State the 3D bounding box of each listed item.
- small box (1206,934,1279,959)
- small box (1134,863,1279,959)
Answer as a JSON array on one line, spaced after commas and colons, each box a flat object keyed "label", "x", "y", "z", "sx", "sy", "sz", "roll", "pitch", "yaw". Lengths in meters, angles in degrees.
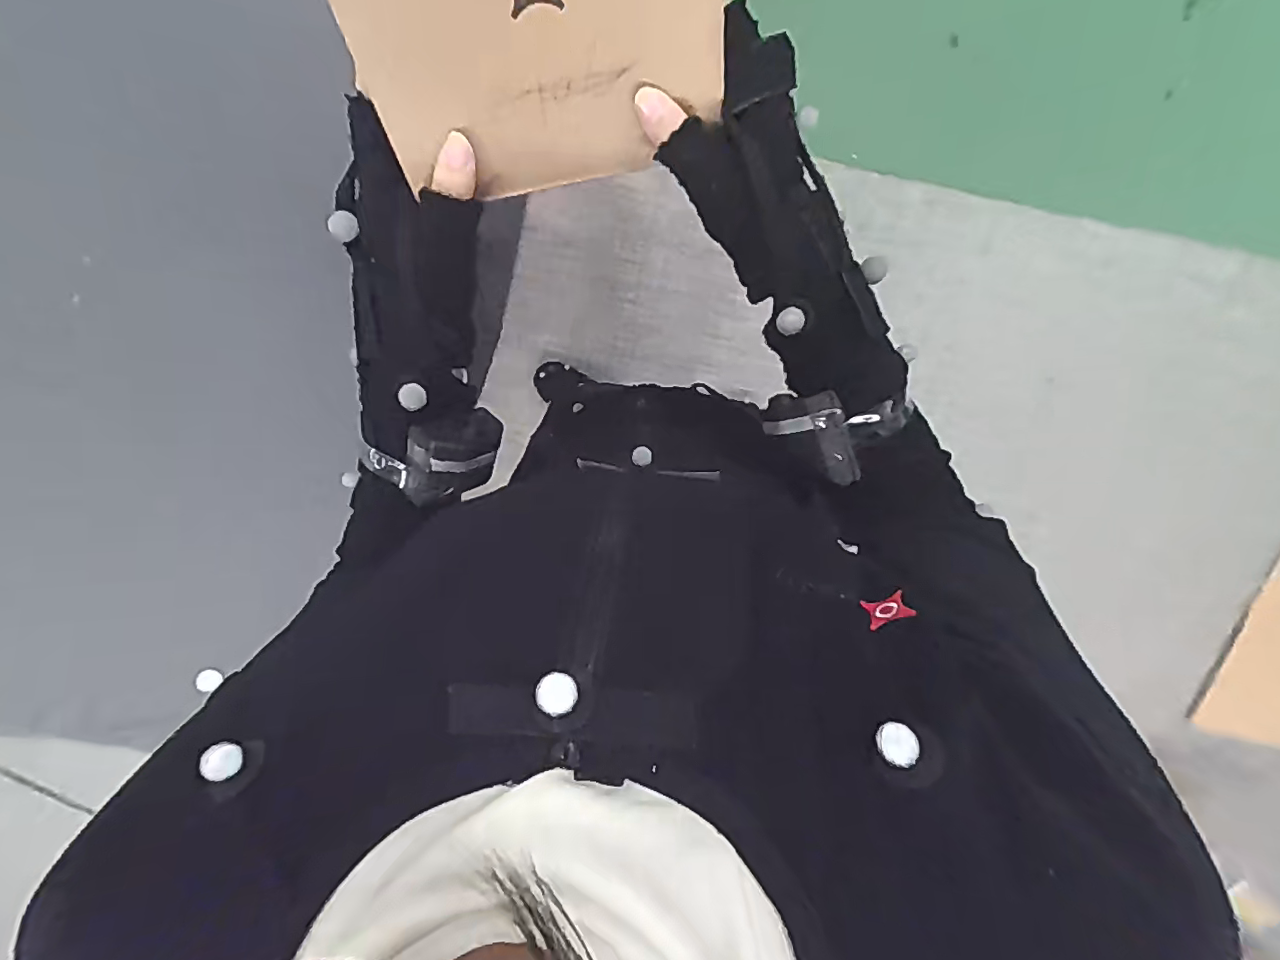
[{"label": "small box", "x": 1.347, "y": 1.101, "z": 1.124, "sx": 0.179, "sy": 0.176, "sz": 0.168, "roll": 41, "pitch": 102, "yaw": -9}, {"label": "small box", "x": 1.356, "y": 1.070, "z": 1.288, "sx": 0.168, "sy": 0.176, "sz": 0.179, "roll": 35, "pitch": 104, "yaw": -8}]
